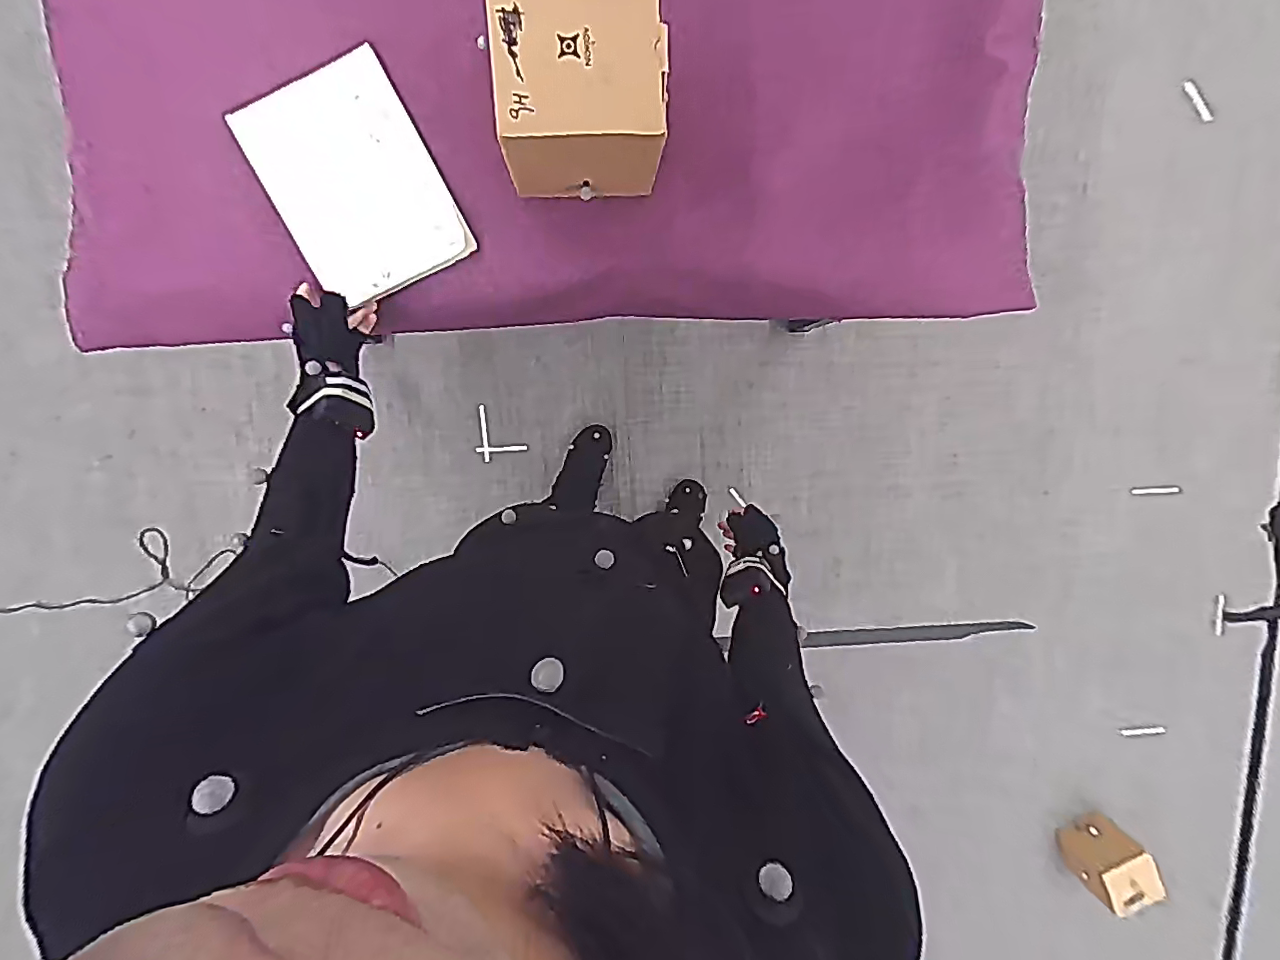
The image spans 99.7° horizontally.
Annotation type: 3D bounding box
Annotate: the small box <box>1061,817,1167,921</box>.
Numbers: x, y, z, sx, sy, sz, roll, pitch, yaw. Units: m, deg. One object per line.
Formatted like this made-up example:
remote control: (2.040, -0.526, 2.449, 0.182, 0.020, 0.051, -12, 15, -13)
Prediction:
small box: (1.496, 1.226, 1.714, 0.168, 0.176, 0.179, -25, 98, -1)

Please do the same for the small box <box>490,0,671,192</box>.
small box: (-0.066, -0.445, 0.613, 0.179, 0.176, 0.168, -3, 98, -5)
